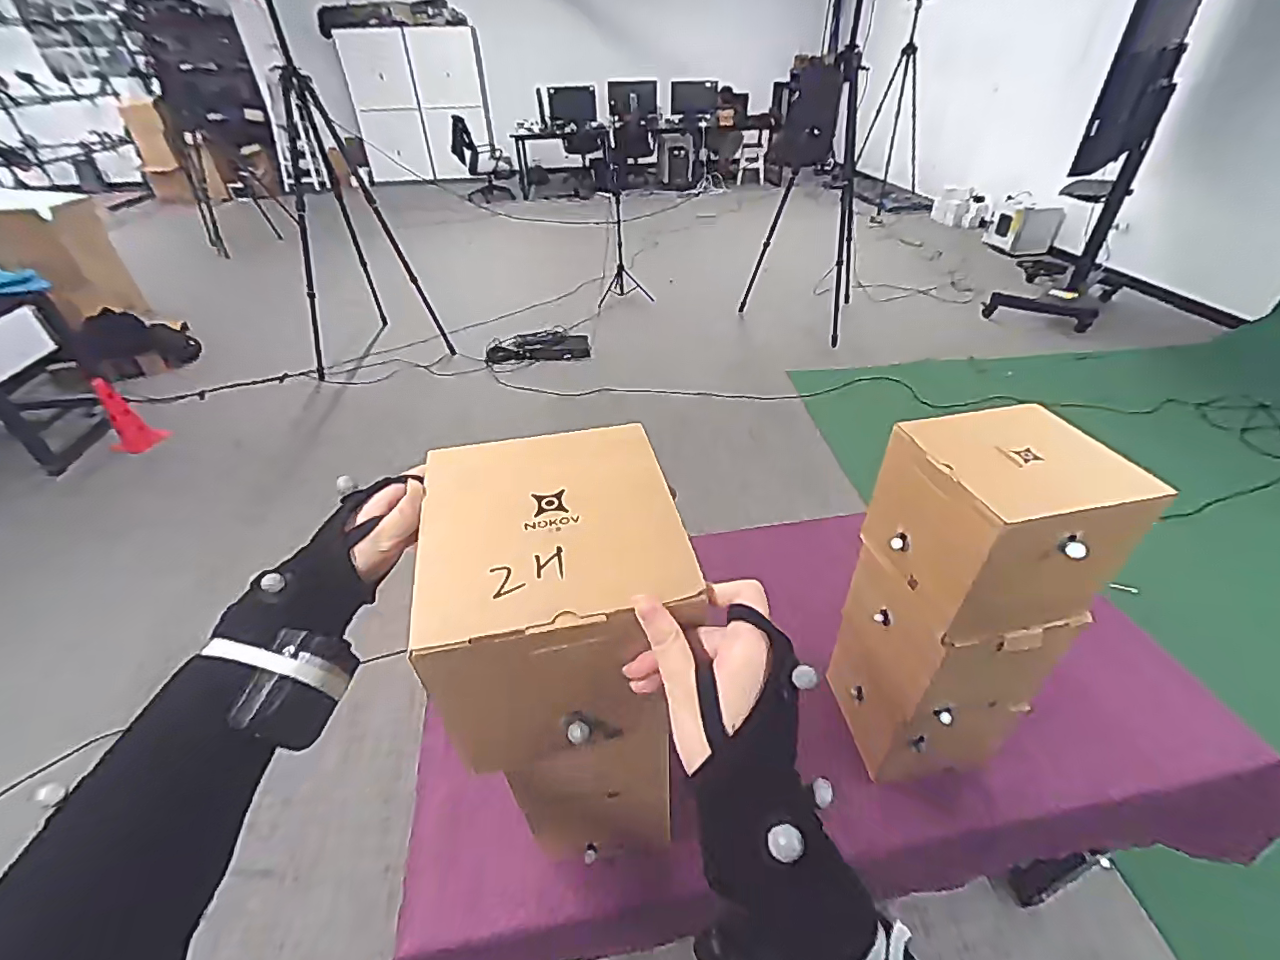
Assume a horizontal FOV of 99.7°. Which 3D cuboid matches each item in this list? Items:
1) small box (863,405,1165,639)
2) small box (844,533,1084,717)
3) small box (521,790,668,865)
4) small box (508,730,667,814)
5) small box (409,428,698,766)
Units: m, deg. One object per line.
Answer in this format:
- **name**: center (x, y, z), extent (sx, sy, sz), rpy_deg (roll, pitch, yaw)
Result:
- **small box**: center (0.369, 0.043, 0.576), extent (0.179, 0.176, 0.168), rpy_deg (-10, 38, -7)
- **small box**: center (0.379, 0.172, 0.674), extent (0.168, 0.176, 0.179), rpy_deg (-8, 37, -7)
- **small box**: center (-0.054, 0.372, 0.712), extent (0.168, 0.176, 0.179), rpy_deg (-5, 39, -2)
- **small box**: center (-0.061, 0.242, 0.611), extent (0.168, 0.176, 0.179), rpy_deg (-6, 37, -2)
- **small box**: center (-0.062, 0.085, 0.417), extent (0.168, 0.176, 0.179), rpy_deg (-9, 42, -8)
